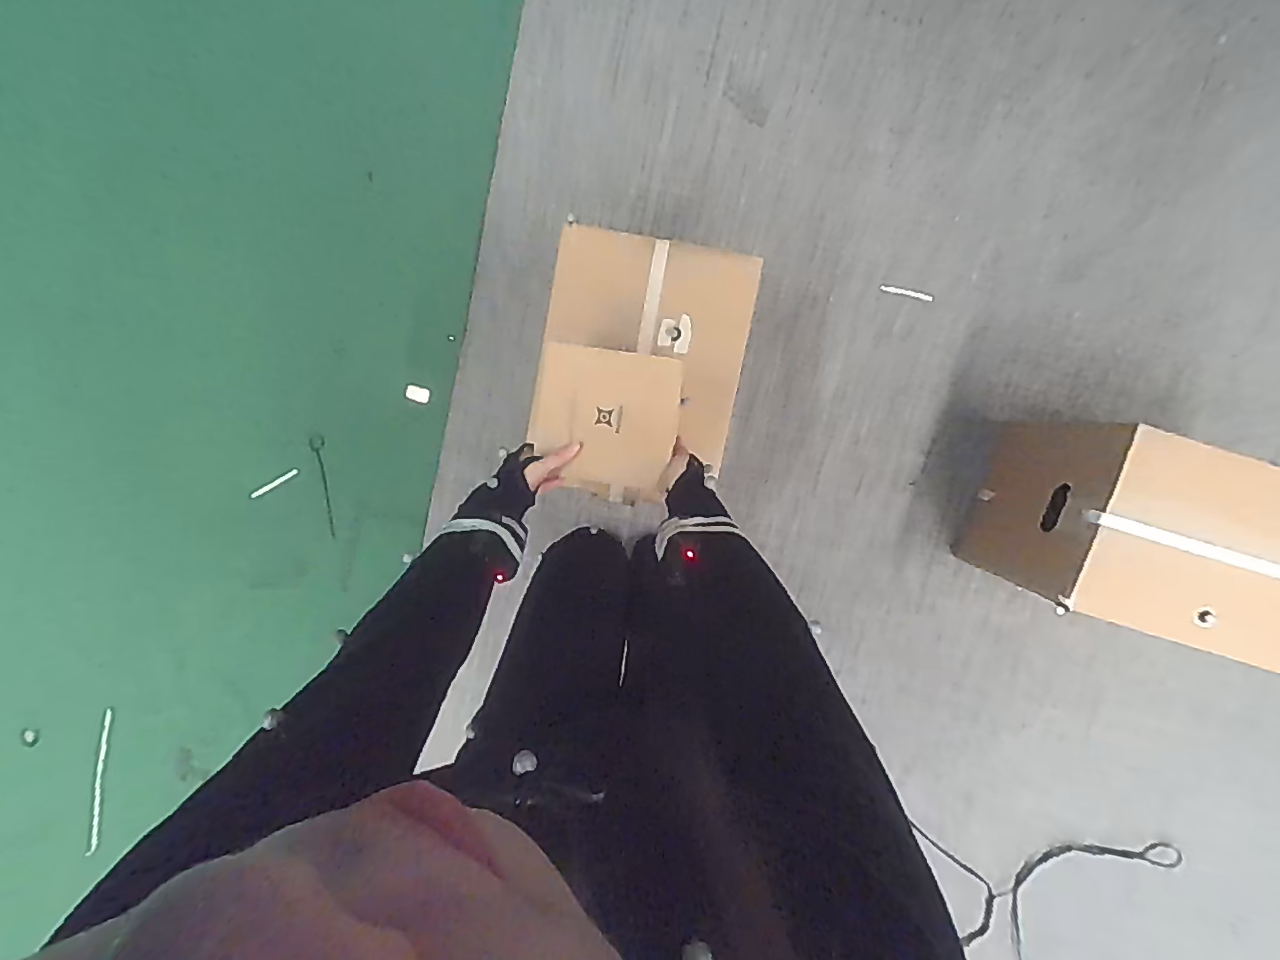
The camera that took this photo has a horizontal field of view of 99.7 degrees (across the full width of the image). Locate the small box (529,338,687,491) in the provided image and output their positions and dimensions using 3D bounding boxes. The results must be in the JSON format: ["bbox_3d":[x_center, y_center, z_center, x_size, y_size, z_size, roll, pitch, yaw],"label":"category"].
[{"bbox_3d":[-0.037,-0.088,0.744,0.179,0.176,0.168,10,95,3],"label":"small box"}]

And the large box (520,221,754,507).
[{"bbox_3d":[-0.004,-0.189,0.993,0.320,0.320,0.408,11,96,0],"label":"large box"}]
